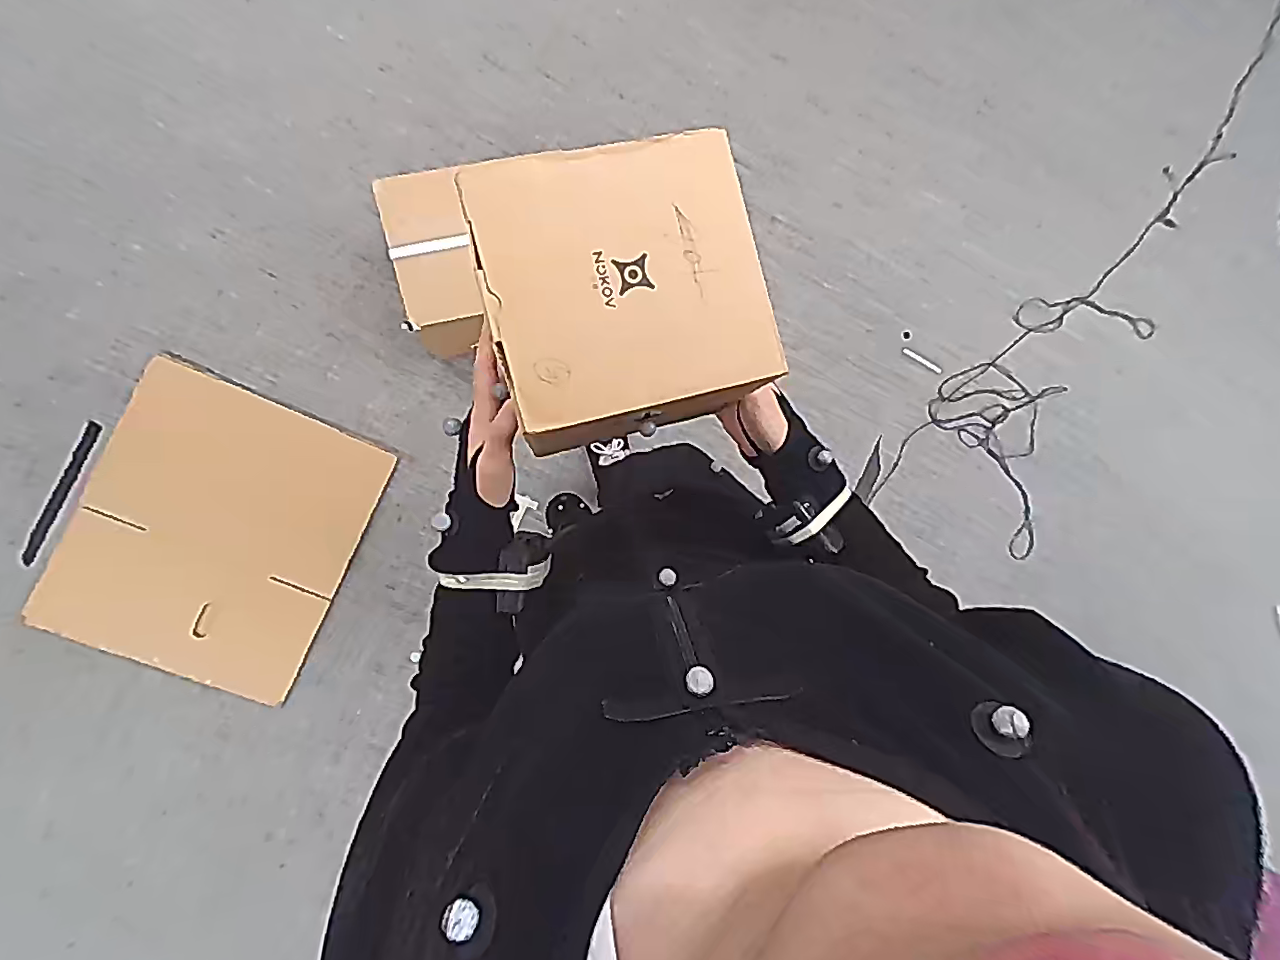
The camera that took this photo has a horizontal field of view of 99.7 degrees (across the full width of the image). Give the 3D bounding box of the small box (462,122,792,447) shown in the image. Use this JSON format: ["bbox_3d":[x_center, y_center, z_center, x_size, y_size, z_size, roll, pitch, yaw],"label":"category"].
[{"bbox_3d":[-0.015,-0.127,0.414,0.179,0.176,0.168,-15,91,-9],"label":"small box"}]
